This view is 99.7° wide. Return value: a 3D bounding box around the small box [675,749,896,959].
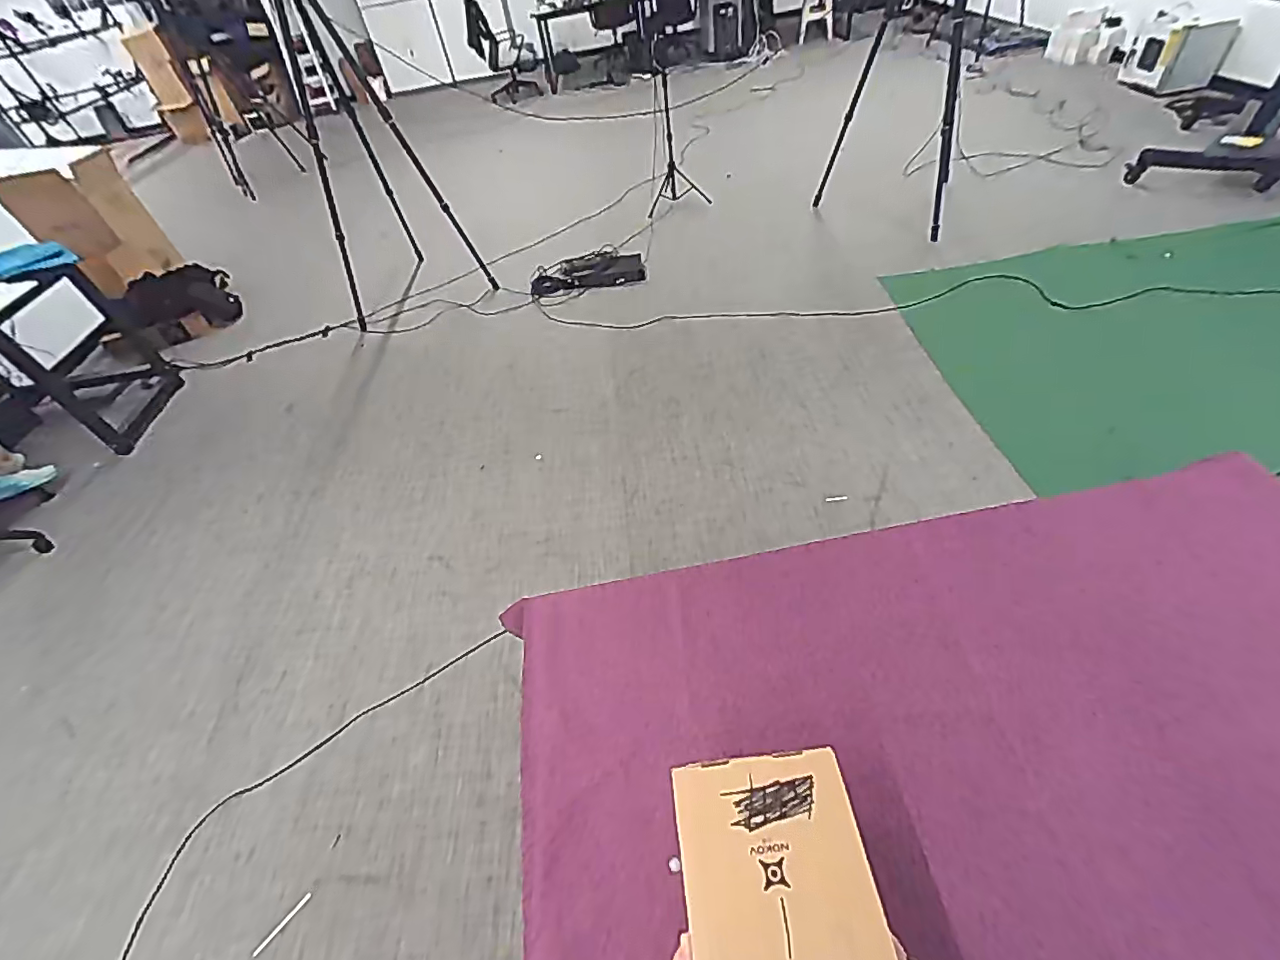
[{"bbox_3d":[0.130,0.398,0.546,0.168,0.176,0.179,-9,47,3],"label":"small box"}]
